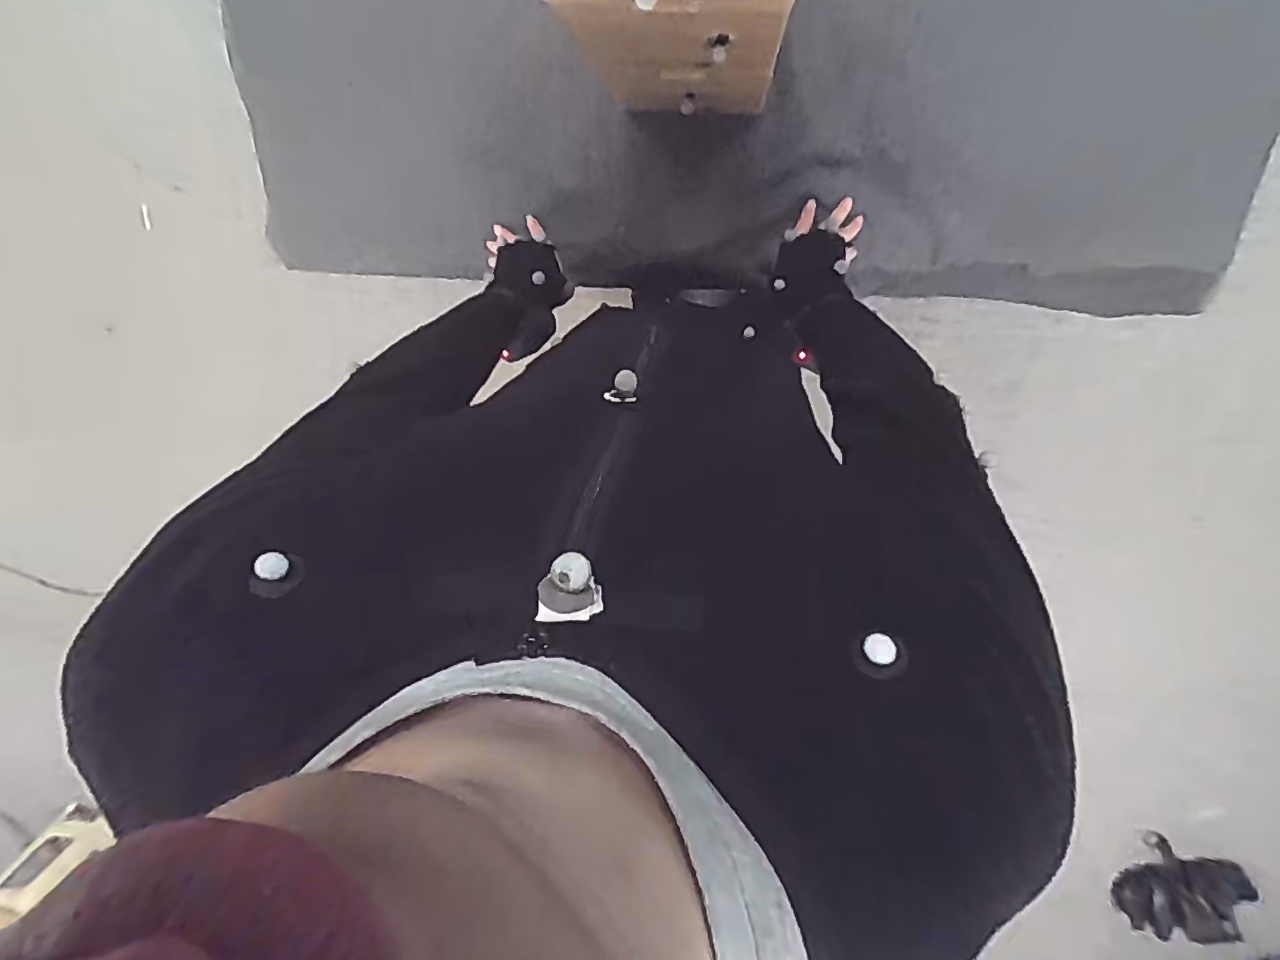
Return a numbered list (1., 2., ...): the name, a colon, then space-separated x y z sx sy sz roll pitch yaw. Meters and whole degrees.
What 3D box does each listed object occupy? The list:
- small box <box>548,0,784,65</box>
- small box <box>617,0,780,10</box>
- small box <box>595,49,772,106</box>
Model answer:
1. small box: 0.030 -0.424 0.386 0.168 0.176 0.179 5 113 5
2. small box: 0.012 -0.353 0.239 0.168 0.176 0.179 7 115 5
3. small box: 0.055 -0.489 0.533 0.168 0.176 0.179 6 115 6
